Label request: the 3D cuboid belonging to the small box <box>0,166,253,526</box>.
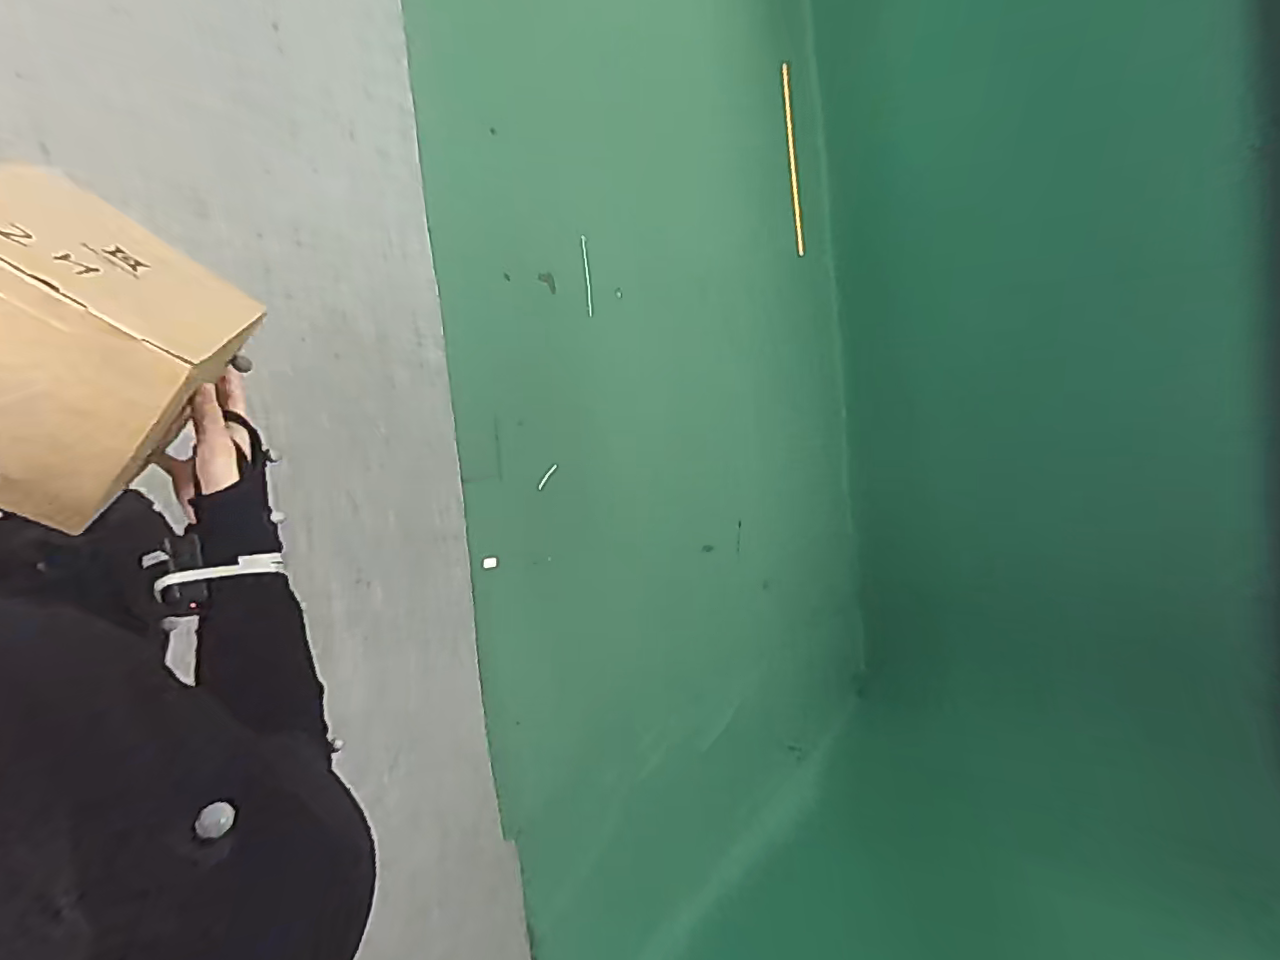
[{"bbox_3d":[-0.444,-0.101,0.406,0.176,0.179,0.168,-45,125,11],"label":"small box"}]
